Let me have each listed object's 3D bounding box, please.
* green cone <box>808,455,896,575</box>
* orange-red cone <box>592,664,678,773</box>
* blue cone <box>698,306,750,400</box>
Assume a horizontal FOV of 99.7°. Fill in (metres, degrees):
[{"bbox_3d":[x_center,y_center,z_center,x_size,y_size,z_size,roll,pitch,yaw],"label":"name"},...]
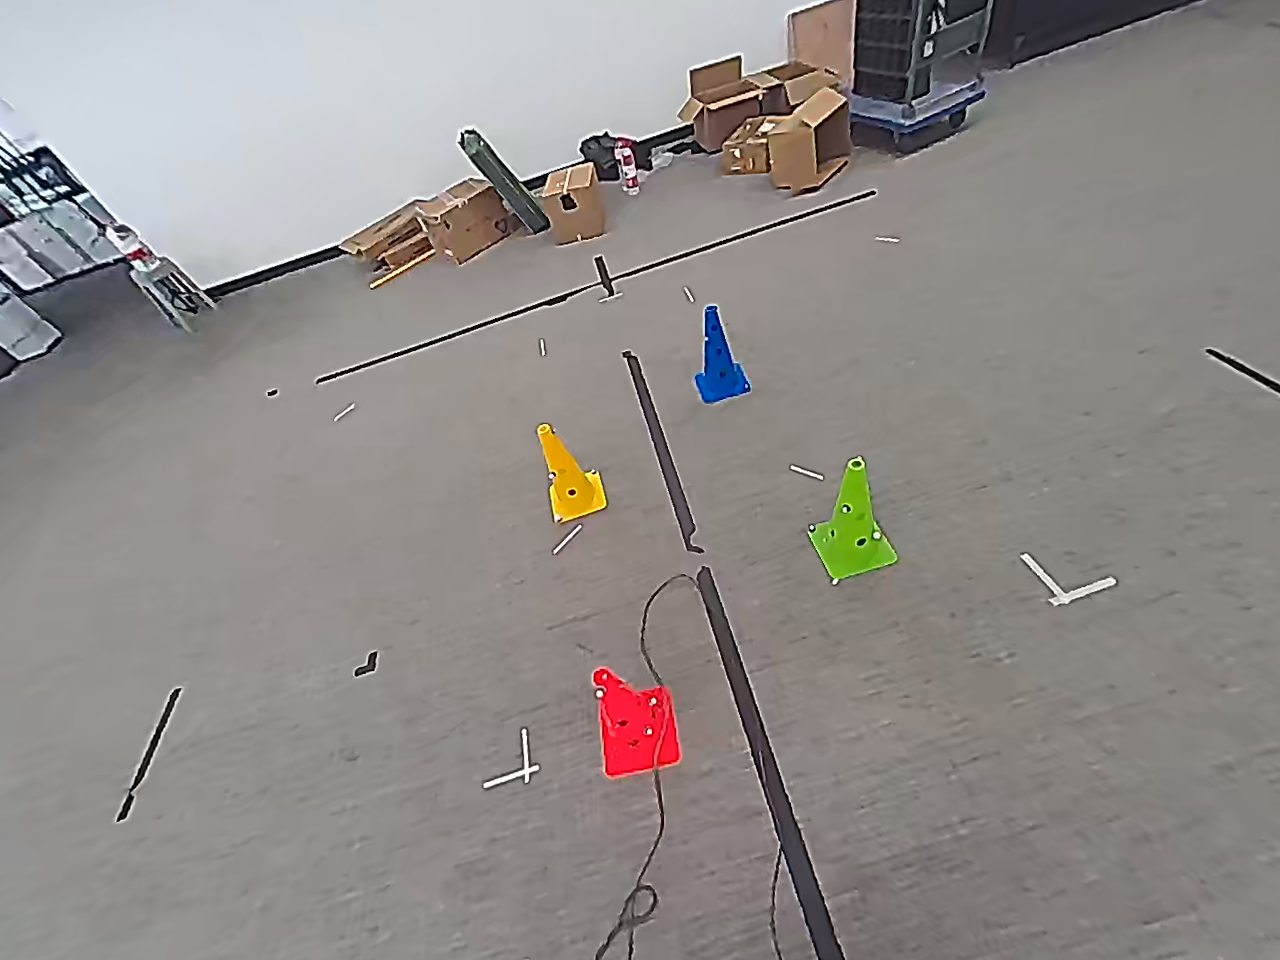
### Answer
[{"bbox_3d":[0.592,0.073,1.497,0.202,0.368,0.200,-17,46,1],"label":"green cone"},{"bbox_3d":[-0.047,0.534,1.291,0.199,0.360,0.198,-15,45,6],"label":"orange-red cone"},{"bbox_3d":[0.312,-0.516,2.144,0.192,0.380,0.193,-14,47,4],"label":"blue cone"}]
